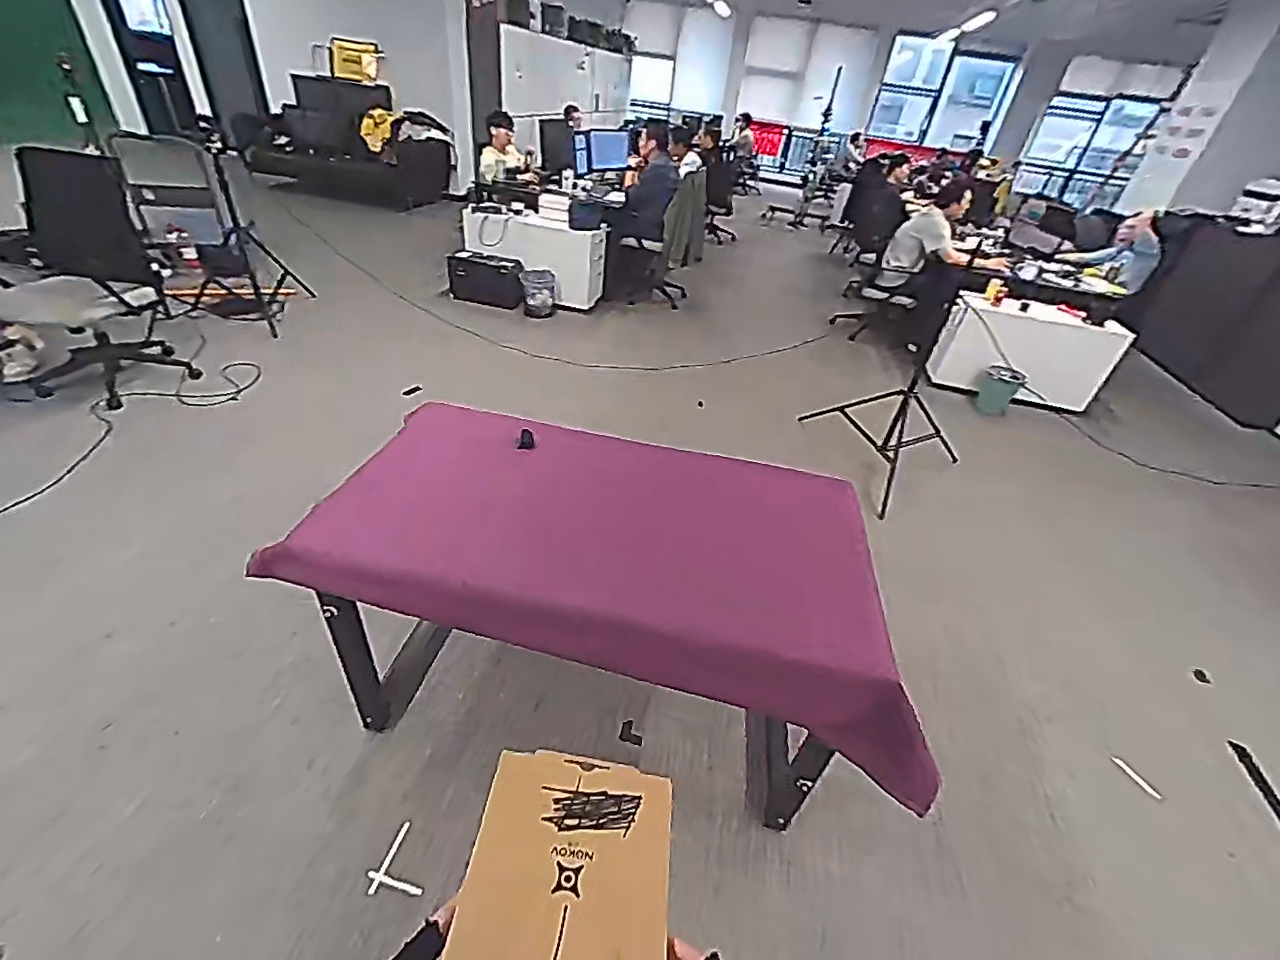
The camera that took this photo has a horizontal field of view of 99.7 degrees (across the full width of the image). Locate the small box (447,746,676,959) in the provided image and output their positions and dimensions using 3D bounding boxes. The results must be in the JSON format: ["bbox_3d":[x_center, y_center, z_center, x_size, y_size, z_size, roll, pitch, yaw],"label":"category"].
[{"bbox_3d":[-0.065,0.381,0.491,0.168,0.176,0.179,10,33,-2],"label":"small box"}]
